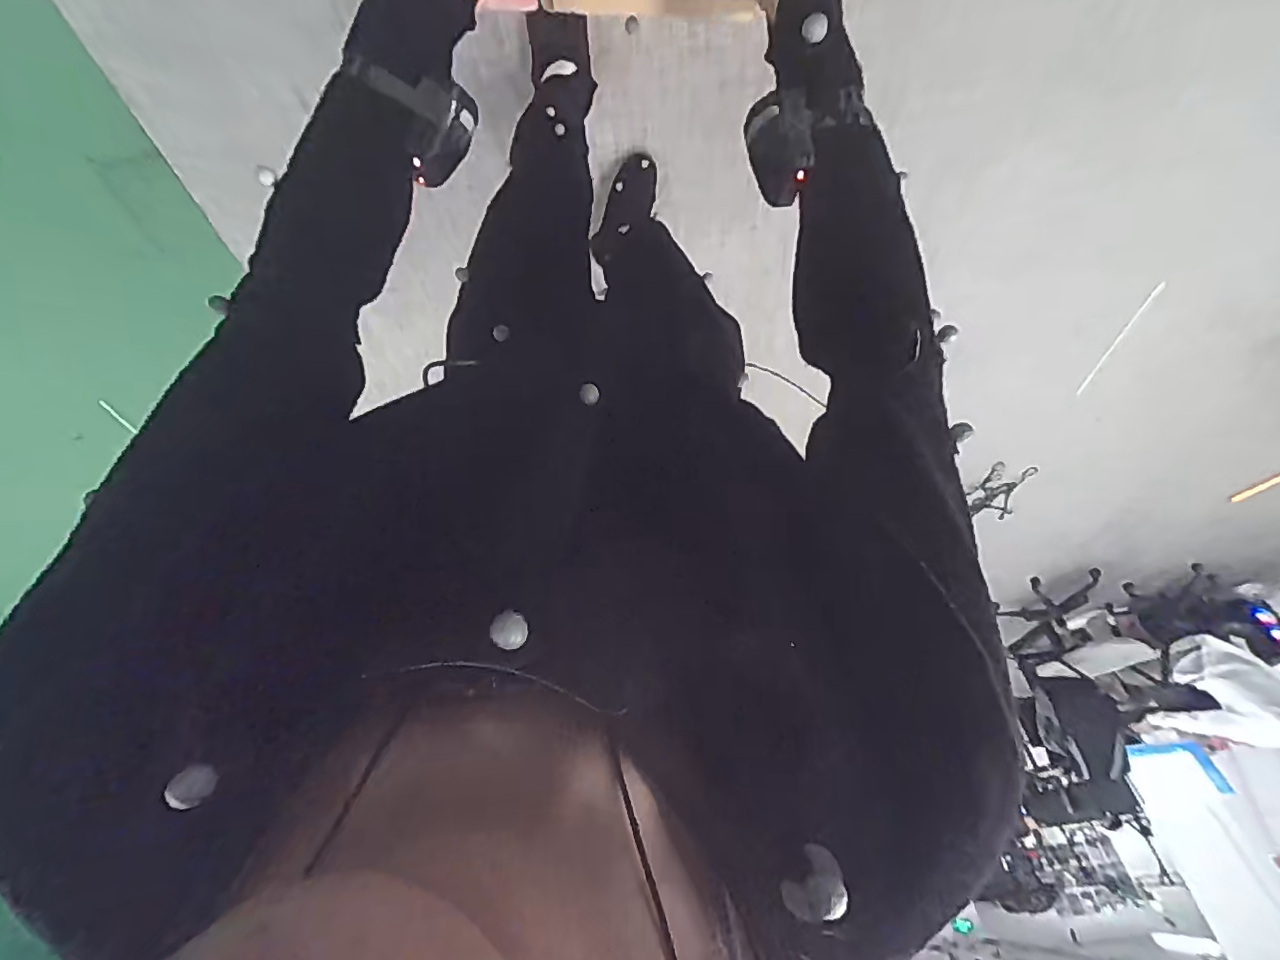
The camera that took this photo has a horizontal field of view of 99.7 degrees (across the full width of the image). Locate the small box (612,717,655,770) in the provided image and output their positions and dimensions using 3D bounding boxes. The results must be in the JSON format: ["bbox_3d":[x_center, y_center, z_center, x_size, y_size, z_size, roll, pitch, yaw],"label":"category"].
[{"bbox_3d":[-0.027,1.107,2.270,0.168,0.176,0.179,-6,143,-2],"label":"small box"}]
